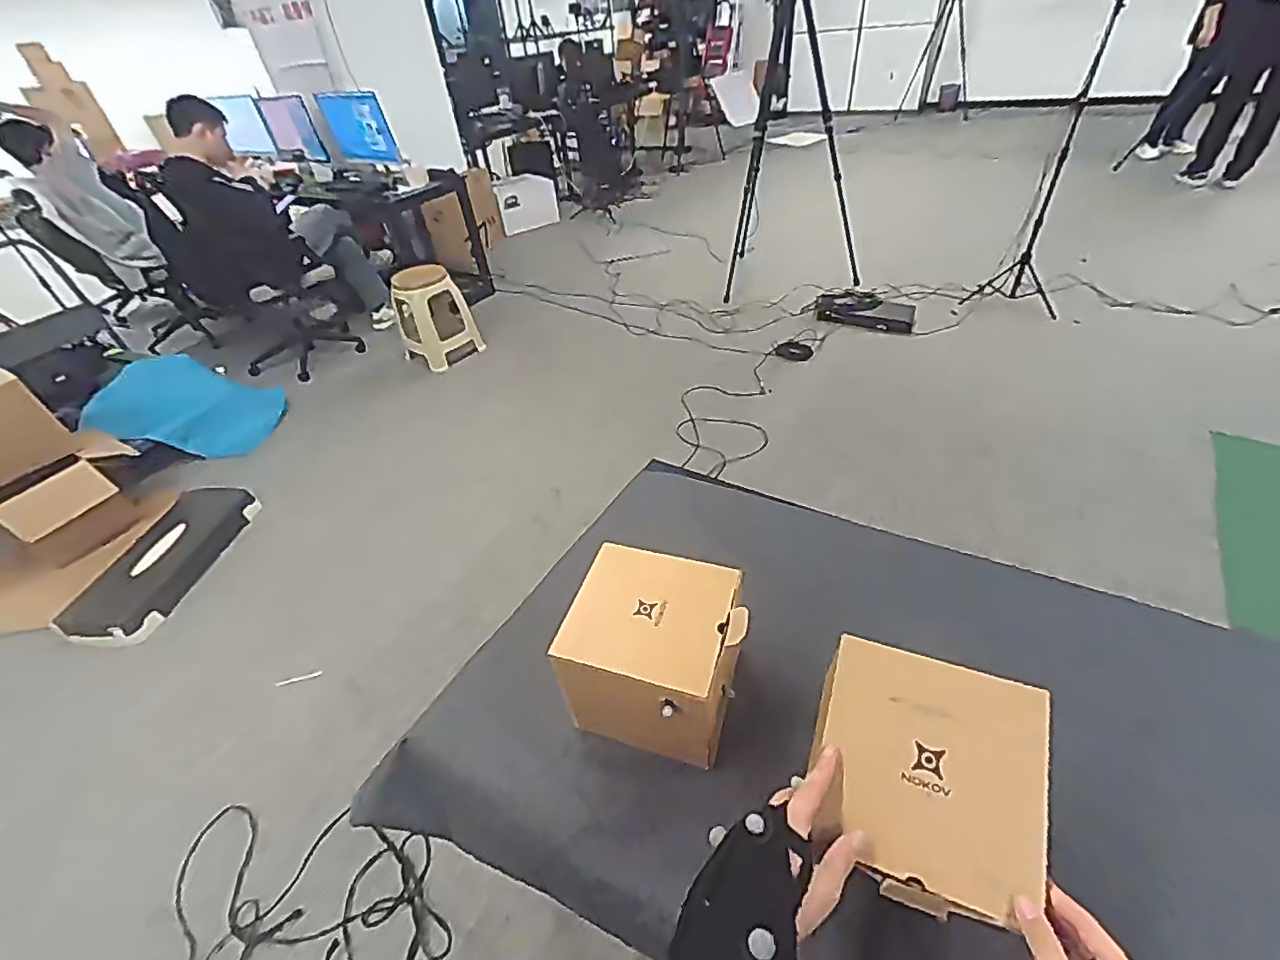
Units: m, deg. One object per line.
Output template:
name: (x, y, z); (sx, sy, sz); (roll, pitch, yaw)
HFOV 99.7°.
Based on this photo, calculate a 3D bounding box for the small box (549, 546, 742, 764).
small box: (0.016, 0.206, 0.644); (0.179, 0.176, 0.168); (9, 42, 17)

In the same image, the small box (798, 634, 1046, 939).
small box: (0.246, 0.273, 0.501); (0.168, 0.176, 0.179); (12, 60, 20)
